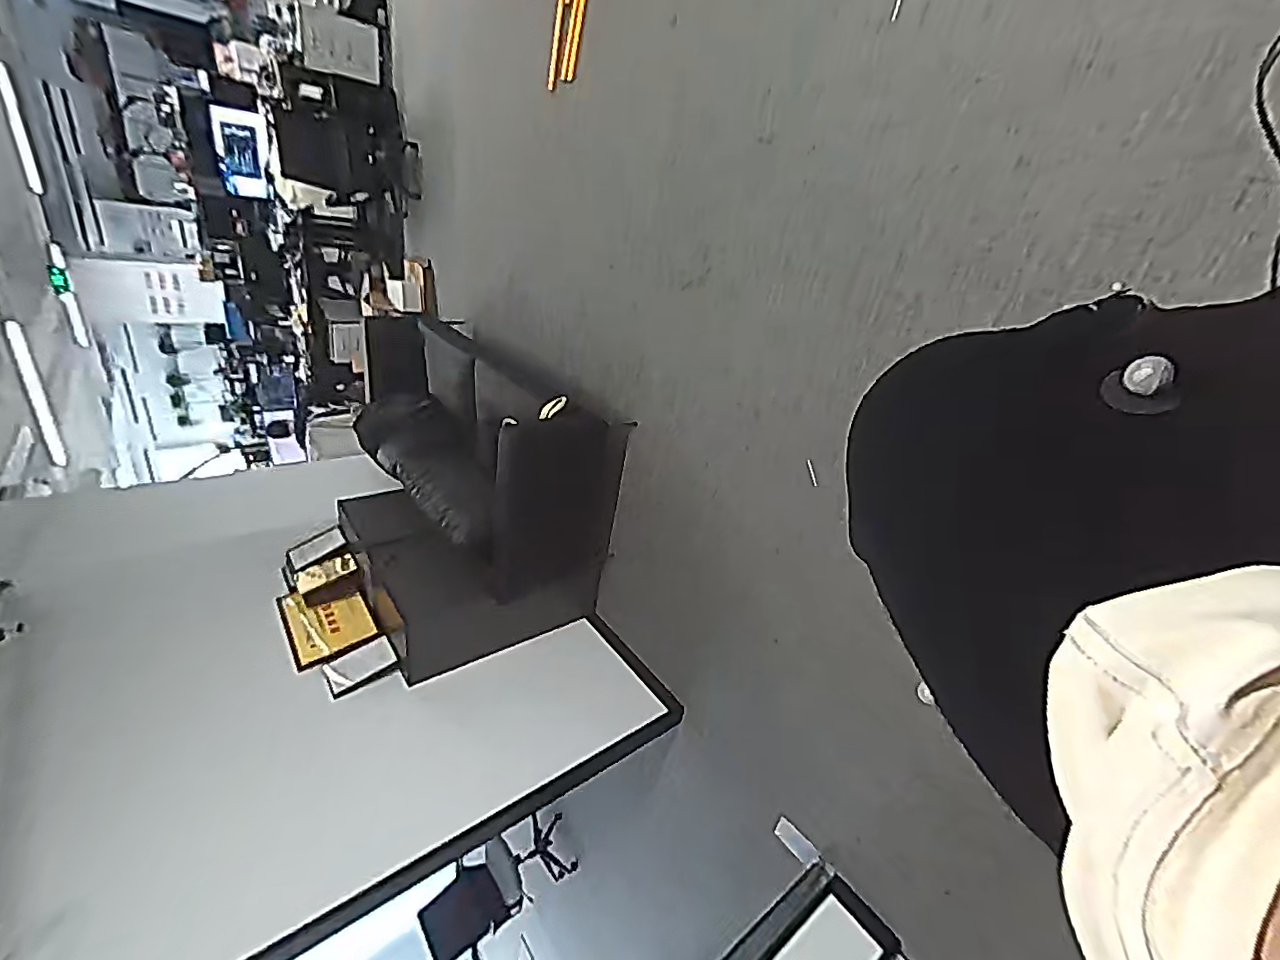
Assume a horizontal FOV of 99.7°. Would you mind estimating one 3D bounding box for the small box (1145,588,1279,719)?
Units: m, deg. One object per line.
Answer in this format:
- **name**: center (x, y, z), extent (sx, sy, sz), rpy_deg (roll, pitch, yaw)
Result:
- **small box**: center (1.221, 0.349, 1.127), extent (0.179, 0.176, 0.168), rpy_deg (36, 126, 41)
